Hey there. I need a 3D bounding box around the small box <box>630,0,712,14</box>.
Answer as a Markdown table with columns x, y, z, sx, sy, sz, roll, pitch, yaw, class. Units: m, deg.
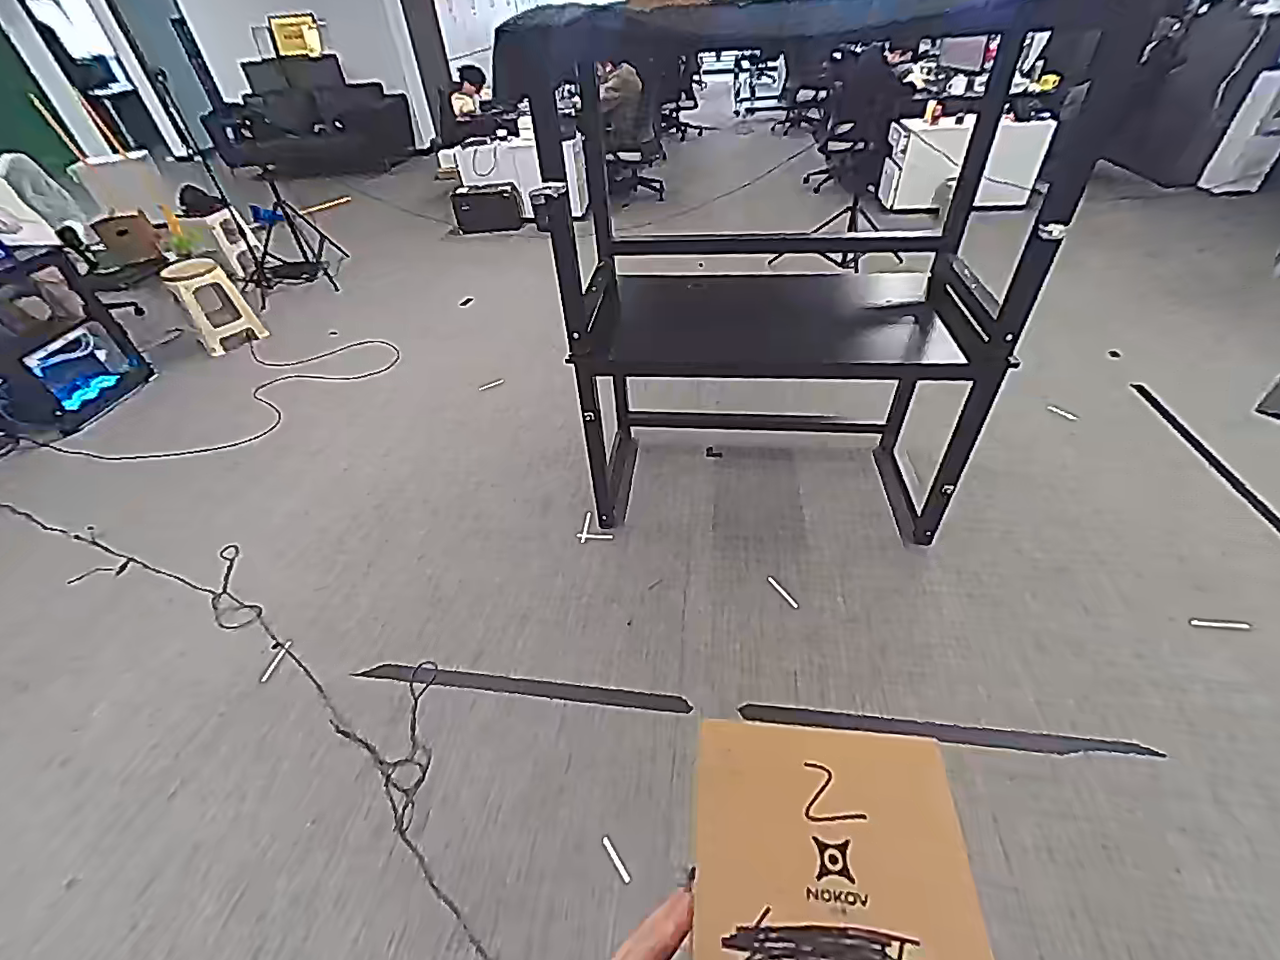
| x | y | z | sx | sy | sz | roll | pitch | yaw | class |
| --- | --- | --- | --- | --- | --- | --- | --- | --- | --- |
| 0.061 | -1.044 | 1.073 | 0.168 | 0.176 | 0.179 | 0 | 41 | 4 | small box |
